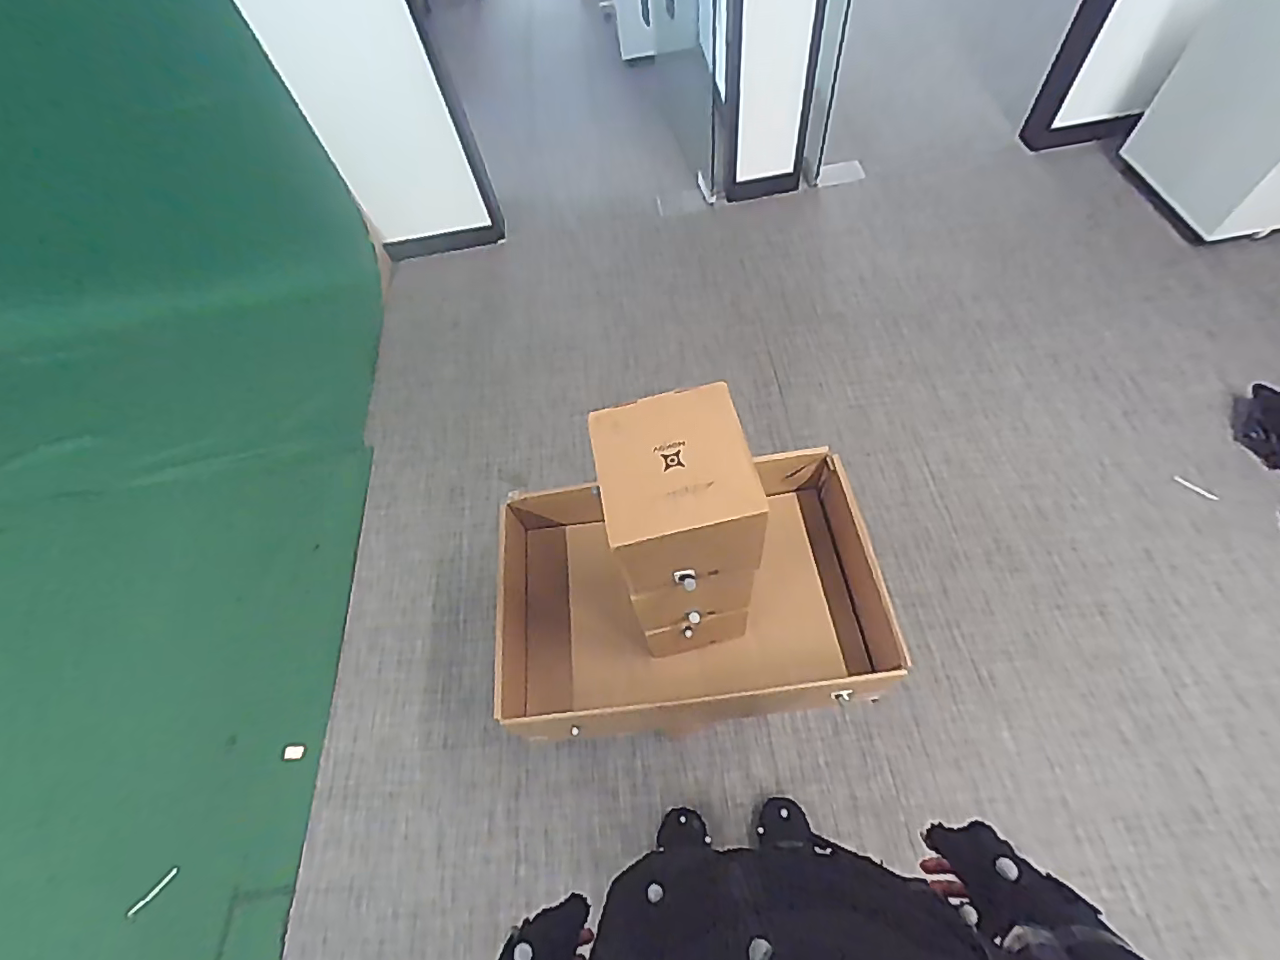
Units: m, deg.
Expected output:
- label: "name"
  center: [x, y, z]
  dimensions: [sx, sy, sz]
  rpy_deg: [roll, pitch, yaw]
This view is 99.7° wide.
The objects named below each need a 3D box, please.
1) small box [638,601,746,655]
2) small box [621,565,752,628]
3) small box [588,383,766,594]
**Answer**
- label: "small box"
  center: [0.075, 0.181, 0.932]
  dimensions: [0.168, 0.176, 0.179]
  rpy_deg: [-15, 59, 1]
- label: "small box"
  center: [0.056, 0.097, 0.792]
  dimensions: [0.168, 0.176, 0.179]
  rpy_deg: [-13, 60, 1]
- label: "small box"
  center: [0.043, 0.017, 0.653]
  dimensions: [0.168, 0.176, 0.179]
  rpy_deg: [-14, 60, 2]
